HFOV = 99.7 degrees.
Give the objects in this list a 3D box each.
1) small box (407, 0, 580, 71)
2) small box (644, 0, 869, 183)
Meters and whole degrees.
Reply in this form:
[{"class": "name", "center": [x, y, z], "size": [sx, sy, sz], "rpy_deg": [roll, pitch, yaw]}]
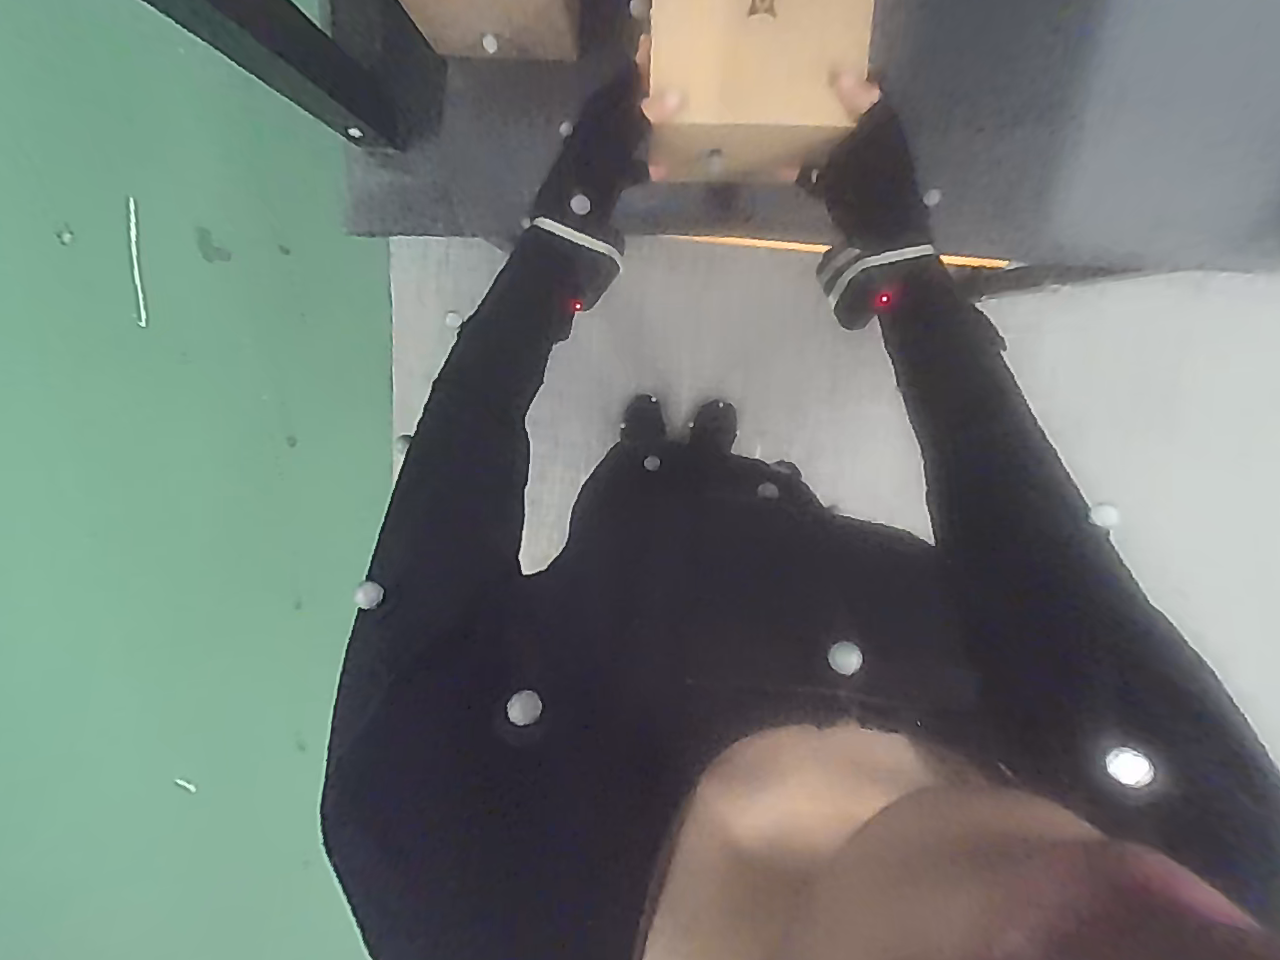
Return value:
[{"class": "small box", "center": [-0.149, -0.545, 0.527], "size": [0.168, 0.176, 0.179], "rpy_deg": [3, 103, 1]}, {"class": "small box", "center": [0.090, -0.378, 0.476], "size": [0.168, 0.176, 0.179], "rpy_deg": [1, 103, 1]}]
